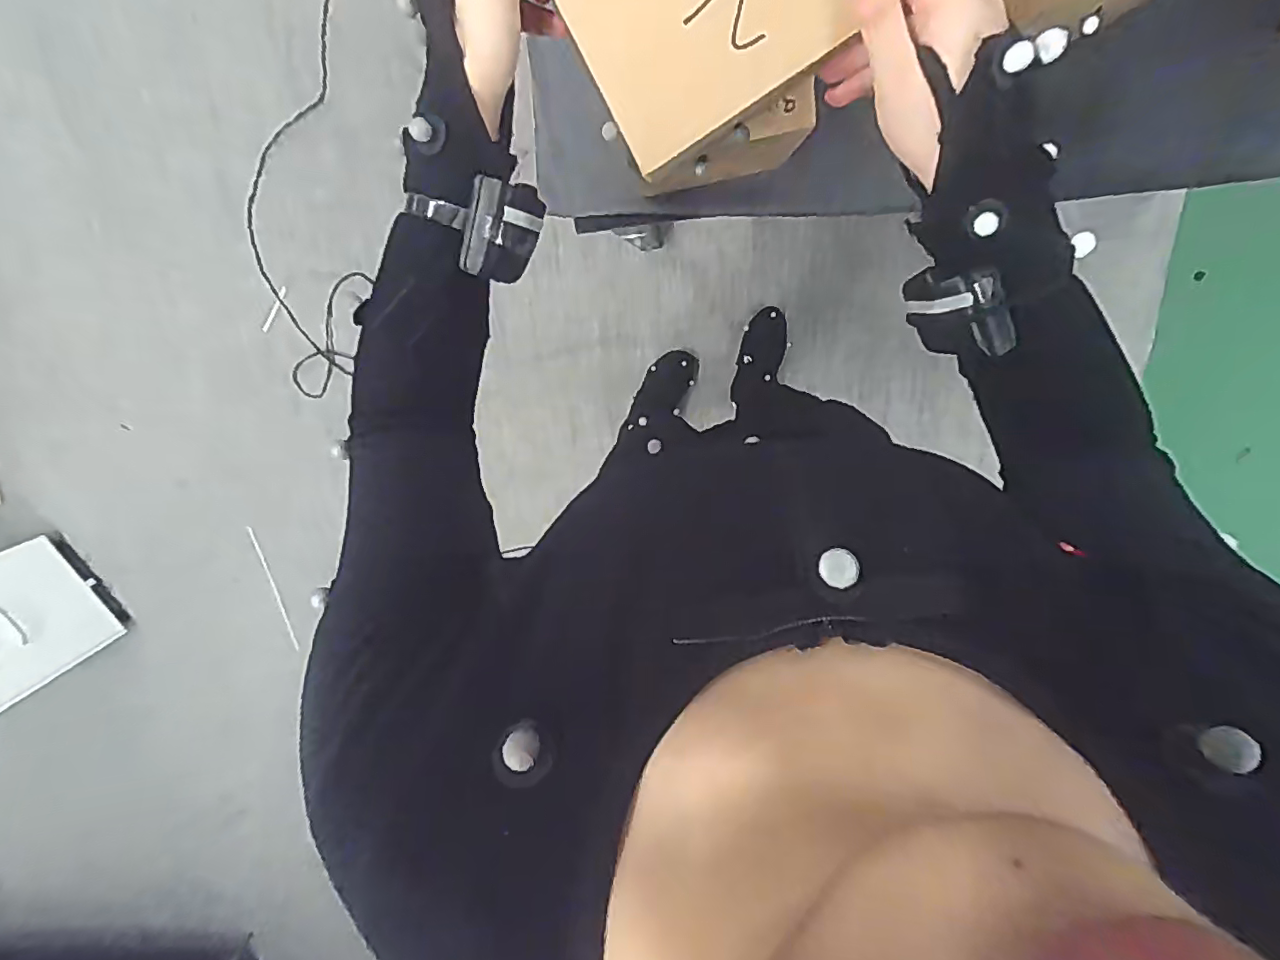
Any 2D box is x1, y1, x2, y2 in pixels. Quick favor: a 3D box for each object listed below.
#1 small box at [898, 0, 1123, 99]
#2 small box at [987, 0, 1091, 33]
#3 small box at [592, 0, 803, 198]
[{"bbox_3d":[0.339,-0.477,0.472,0.179,0.176,0.168,-20,107,11],"label":"small box"},{"bbox_3d":[0.325,-0.419,0.318,0.179,0.176,0.168,-18,108,10],"label":"small box"},{"bbox_3d":[0.051,-0.396,0.525,0.168,0.176,0.179,-9,109,8],"label":"small box"}]
